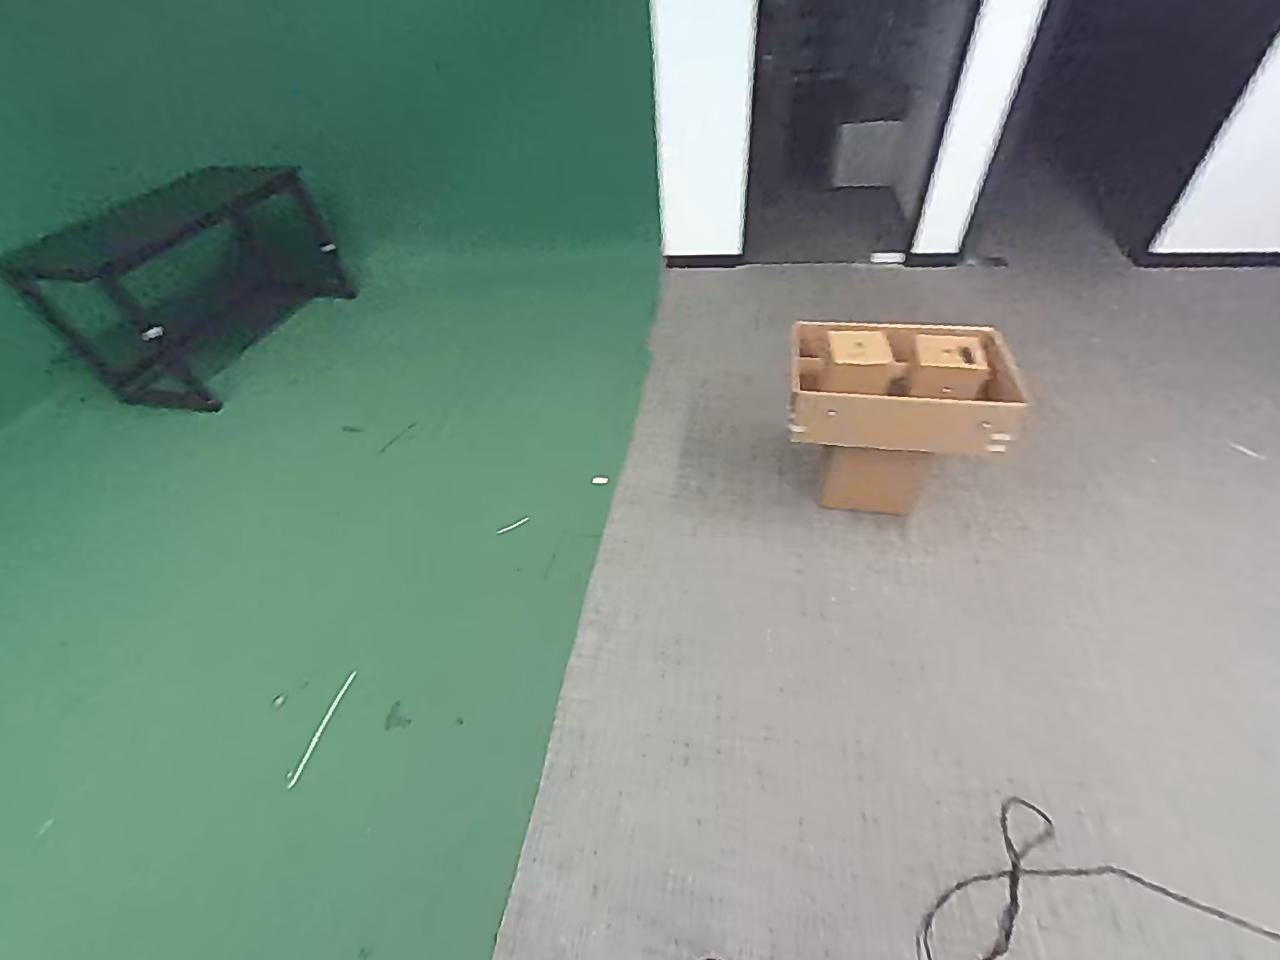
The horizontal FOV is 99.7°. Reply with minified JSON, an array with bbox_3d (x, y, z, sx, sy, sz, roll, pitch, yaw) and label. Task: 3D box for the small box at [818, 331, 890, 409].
[{"bbox_3d":[0.655,-0.342,1.679,0.168,0.176,0.179,2,47,8],"label":"small box"}]
